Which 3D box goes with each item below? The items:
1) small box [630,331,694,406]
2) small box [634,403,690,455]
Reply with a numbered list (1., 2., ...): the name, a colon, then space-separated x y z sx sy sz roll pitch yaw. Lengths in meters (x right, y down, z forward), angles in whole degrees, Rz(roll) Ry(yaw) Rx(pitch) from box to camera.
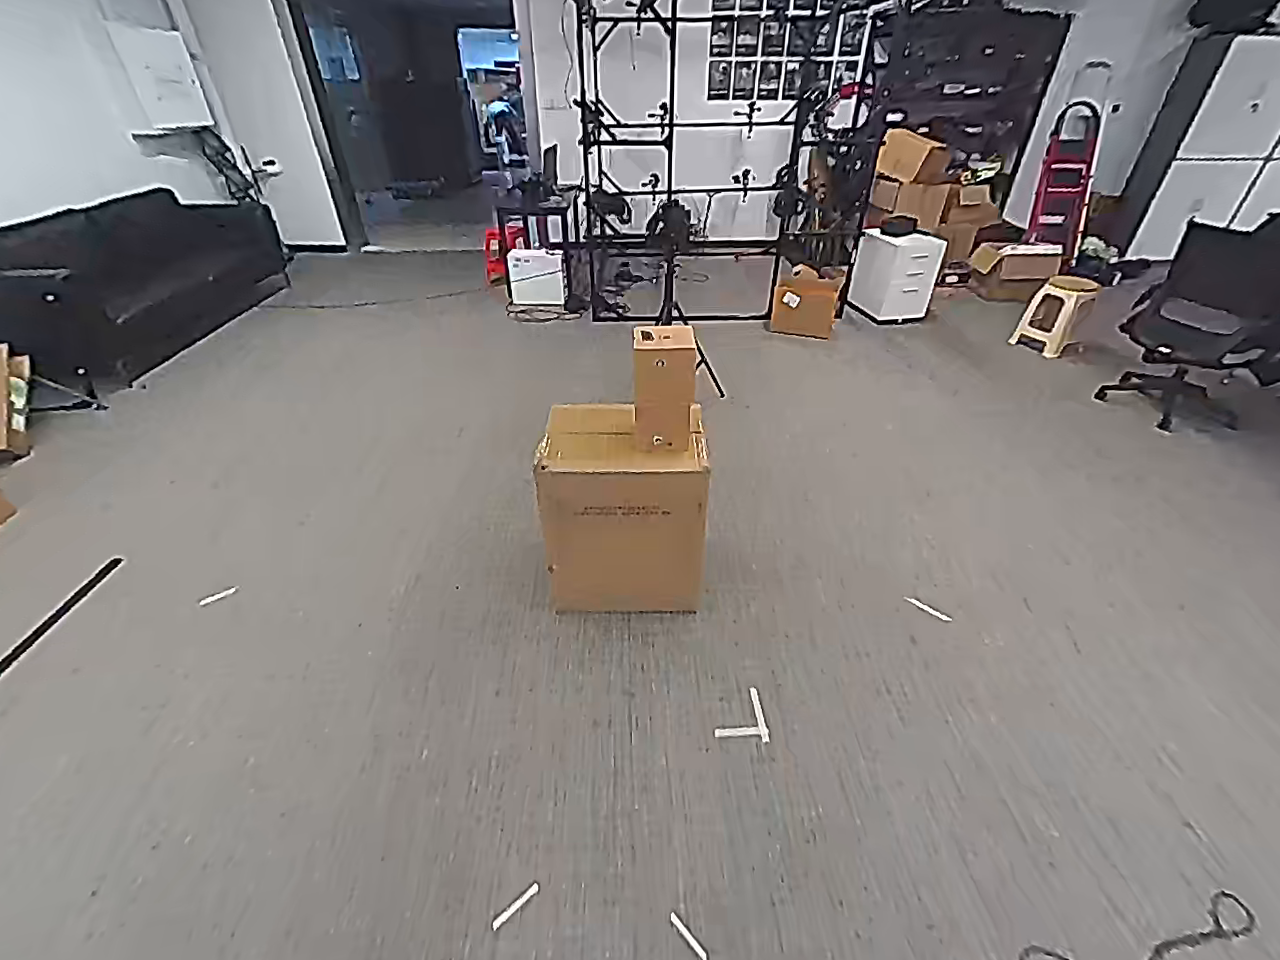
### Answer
1. small box: 0.064 -0.325 1.582 0.179 0.176 0.168 -2 36 1
2. small box: 0.066 -0.193 1.680 0.168 0.176 0.179 -2 37 1
